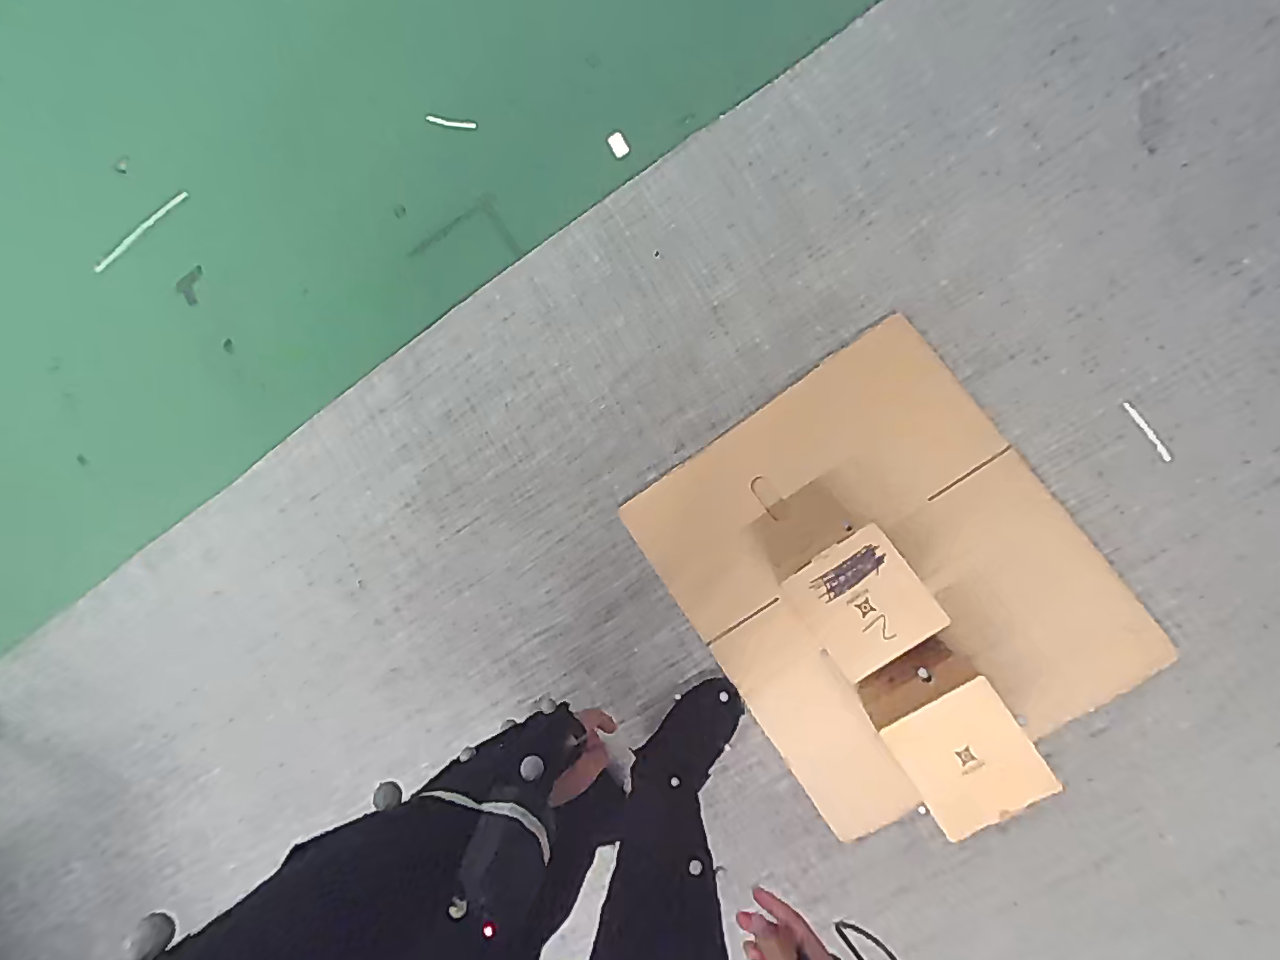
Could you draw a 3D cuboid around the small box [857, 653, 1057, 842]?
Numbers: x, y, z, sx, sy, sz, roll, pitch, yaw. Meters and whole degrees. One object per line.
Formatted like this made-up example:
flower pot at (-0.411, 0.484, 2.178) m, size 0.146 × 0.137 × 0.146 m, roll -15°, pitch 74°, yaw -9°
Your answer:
small box at (0.455, 0.381, 0.813) m, size 0.168 × 0.176 × 0.179 m, roll -34°, pitch 82°, yaw 9°
